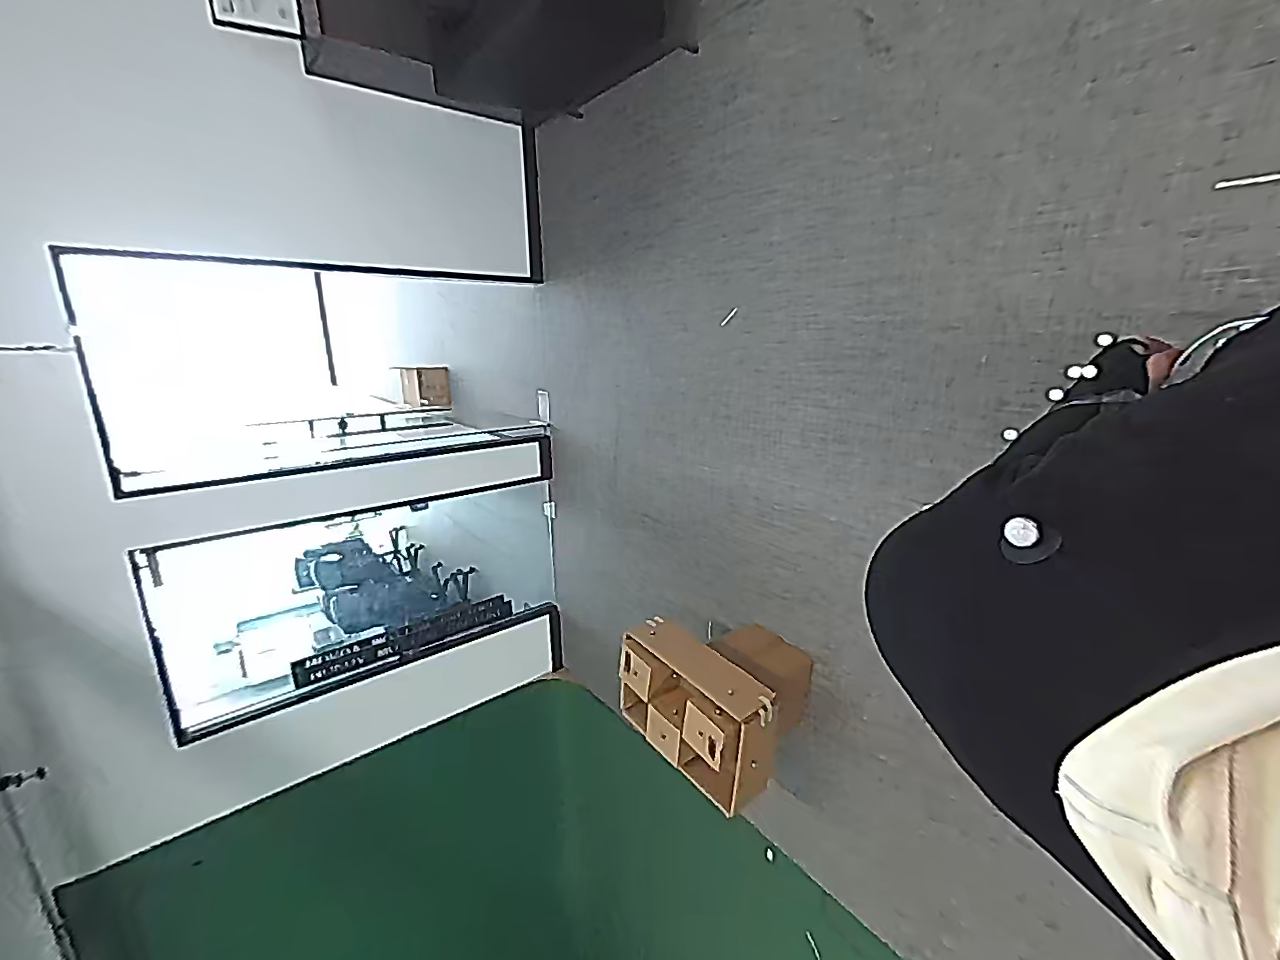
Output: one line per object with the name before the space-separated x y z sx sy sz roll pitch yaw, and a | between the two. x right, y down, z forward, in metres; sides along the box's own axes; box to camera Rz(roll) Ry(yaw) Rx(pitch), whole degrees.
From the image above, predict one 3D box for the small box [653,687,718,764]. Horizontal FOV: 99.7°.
small box | 0.169 0.900 2.003 0.179 0.176 0.168 24 117 47
